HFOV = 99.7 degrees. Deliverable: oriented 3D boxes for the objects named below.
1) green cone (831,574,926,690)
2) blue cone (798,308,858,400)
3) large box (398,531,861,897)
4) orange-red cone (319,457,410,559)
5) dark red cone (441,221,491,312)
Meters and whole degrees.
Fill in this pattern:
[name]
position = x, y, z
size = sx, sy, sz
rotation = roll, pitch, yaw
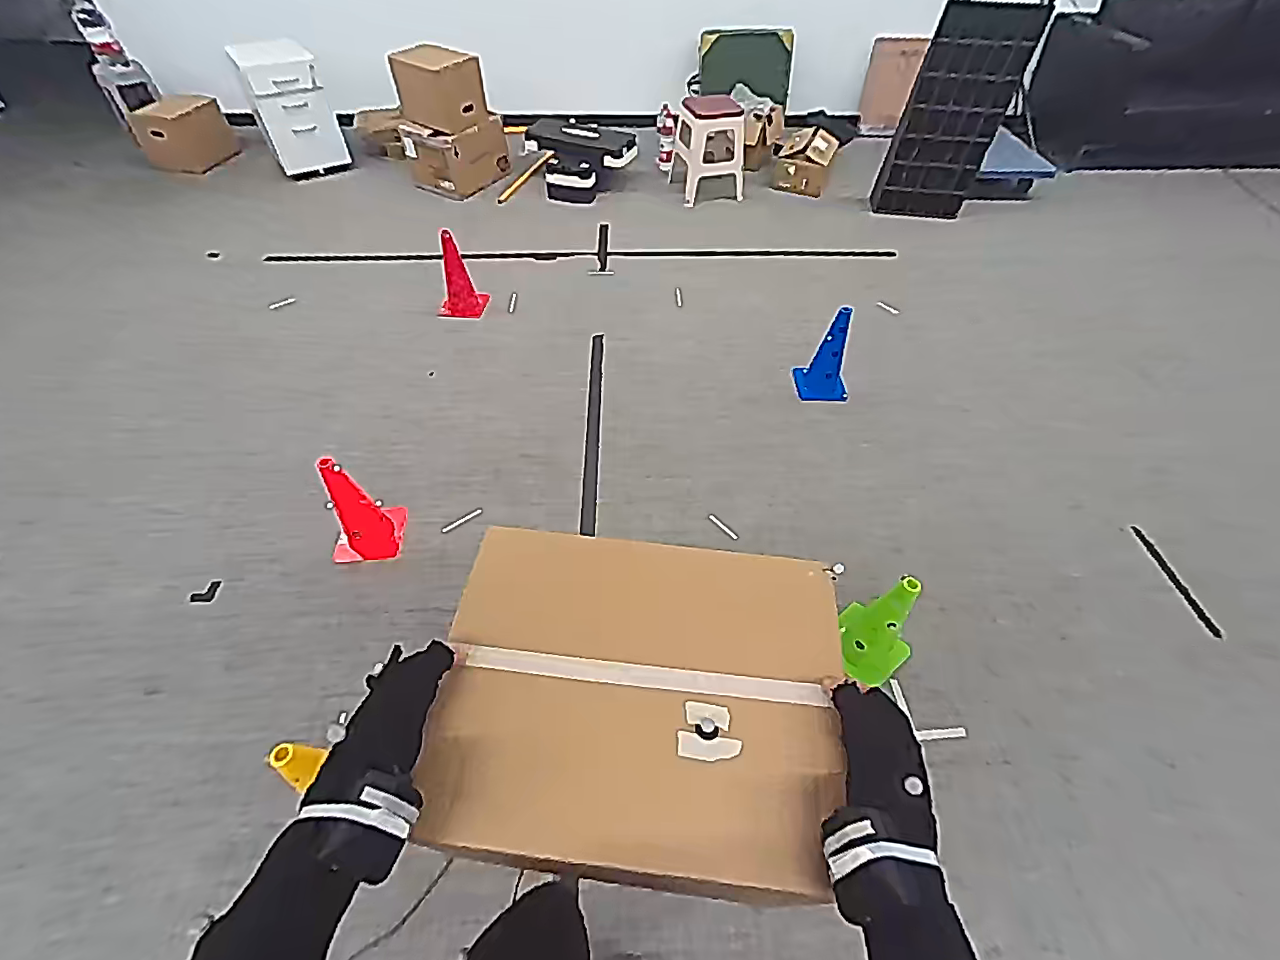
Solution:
[green cone]
position = 0.637, 0.354, 1.390
size = 0.202, 0.368, 0.200
rotation = -31, 58, -25
[blue cone]
position = 0.765, -0.502, 2.121
size = 0.192, 0.380, 0.193
rotation = 3, 51, 0
[large box]
position = -0.003, 0.290, 0.662
size = 0.408, 0.320, 0.320
rotation = 6, 52, 3
[orange-red cone]
position = -0.856, 0.060, 1.611
size = 0.198, 0.360, 0.199
rotation = -3, 52, -2
[dark red cone]
position = -0.814, -0.957, 2.420
size = 0.201, 0.394, 0.202
rotation = 5, 51, 1
